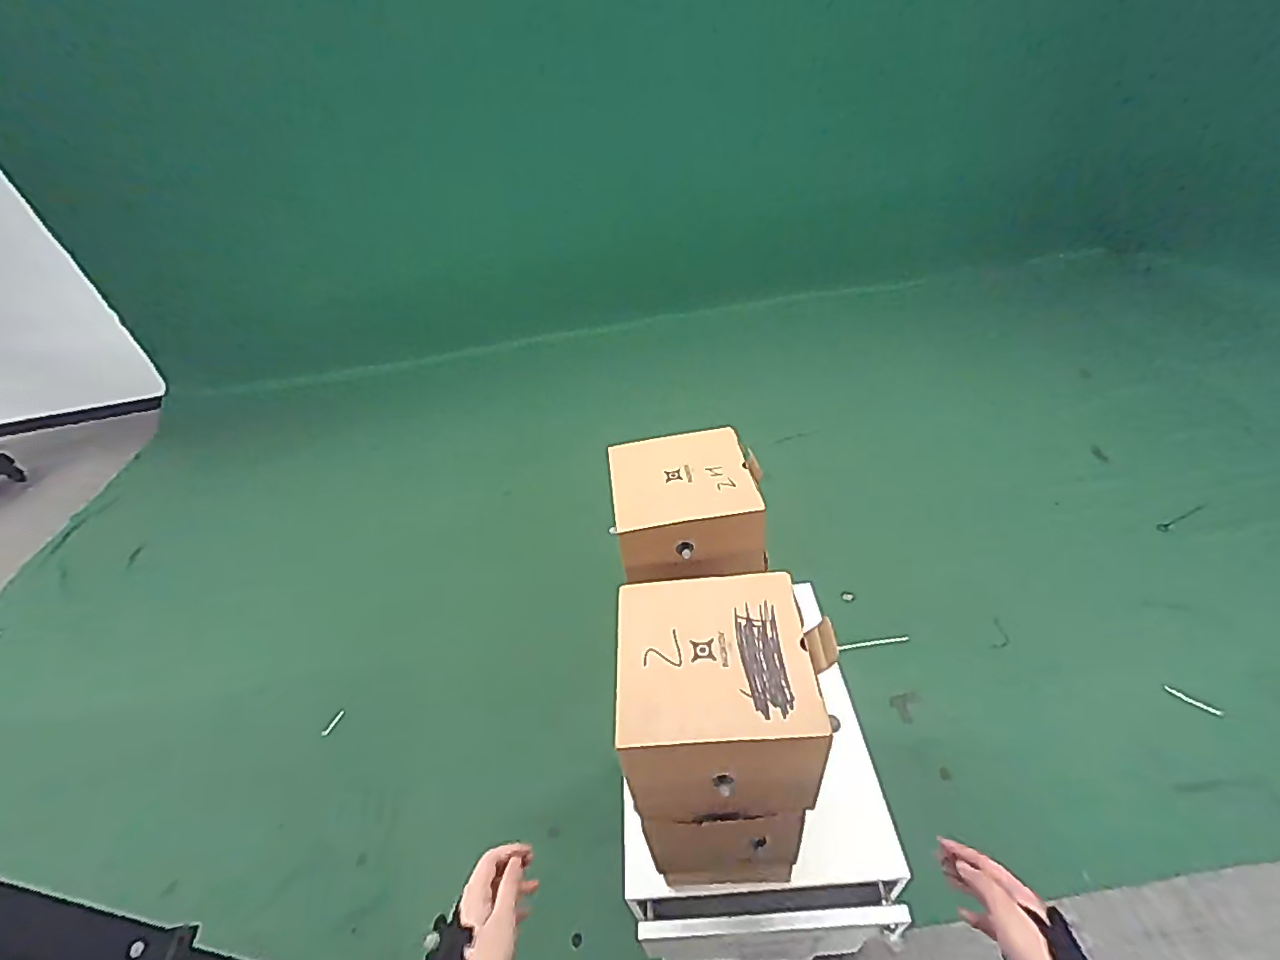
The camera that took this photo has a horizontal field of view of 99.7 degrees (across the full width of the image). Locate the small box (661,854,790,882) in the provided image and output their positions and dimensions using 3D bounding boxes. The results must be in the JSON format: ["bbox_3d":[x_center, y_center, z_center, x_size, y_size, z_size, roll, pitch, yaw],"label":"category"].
[{"bbox_3d":[0.111,0.442,0.756,0.179,0.176,0.168,-5,40,5],"label":"small box"}]

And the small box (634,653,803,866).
[{"bbox_3d":[0.085,0.332,0.638,0.168,0.176,0.179,-6,40,2],"label":"small box"}]

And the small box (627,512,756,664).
[{"bbox_3d":[0.080,0.169,0.829,0.179,0.176,0.168,-4,41,5],"label":"small box"}]
